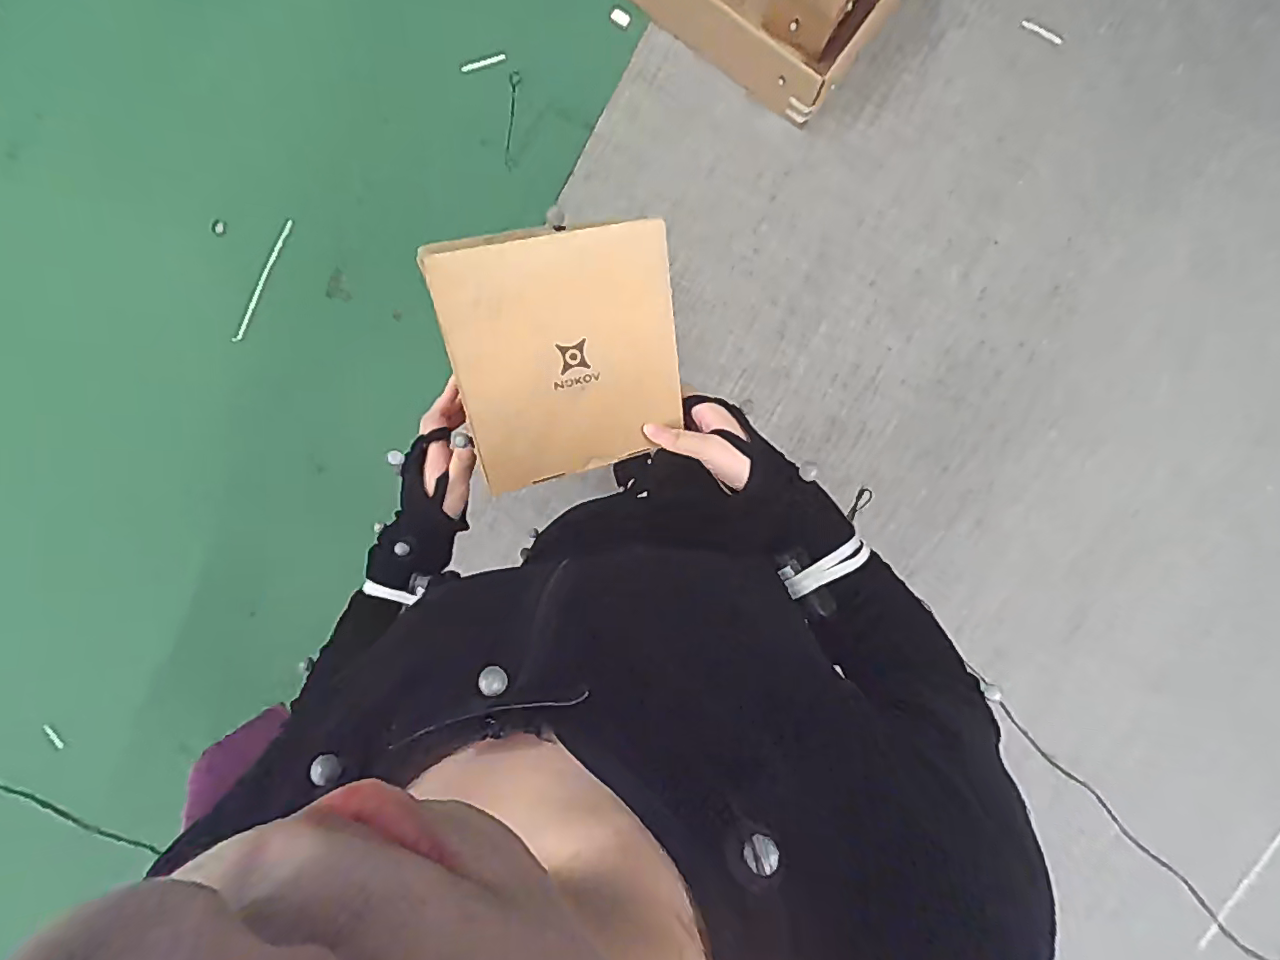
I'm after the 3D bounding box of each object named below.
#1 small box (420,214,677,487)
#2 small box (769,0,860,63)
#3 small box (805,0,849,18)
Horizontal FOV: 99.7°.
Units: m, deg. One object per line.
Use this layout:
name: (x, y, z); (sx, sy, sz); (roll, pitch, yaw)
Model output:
small box: (-0.081, -0.122, 0.462); (0.168, 0.176, 0.179); (-16, 121, -15)
small box: (0.409, -1.113, 1.230); (0.168, 0.176, 0.179); (33, 98, 1)
small box: (0.389, -1.085, 1.069); (0.168, 0.176, 0.179); (35, 97, 2)
